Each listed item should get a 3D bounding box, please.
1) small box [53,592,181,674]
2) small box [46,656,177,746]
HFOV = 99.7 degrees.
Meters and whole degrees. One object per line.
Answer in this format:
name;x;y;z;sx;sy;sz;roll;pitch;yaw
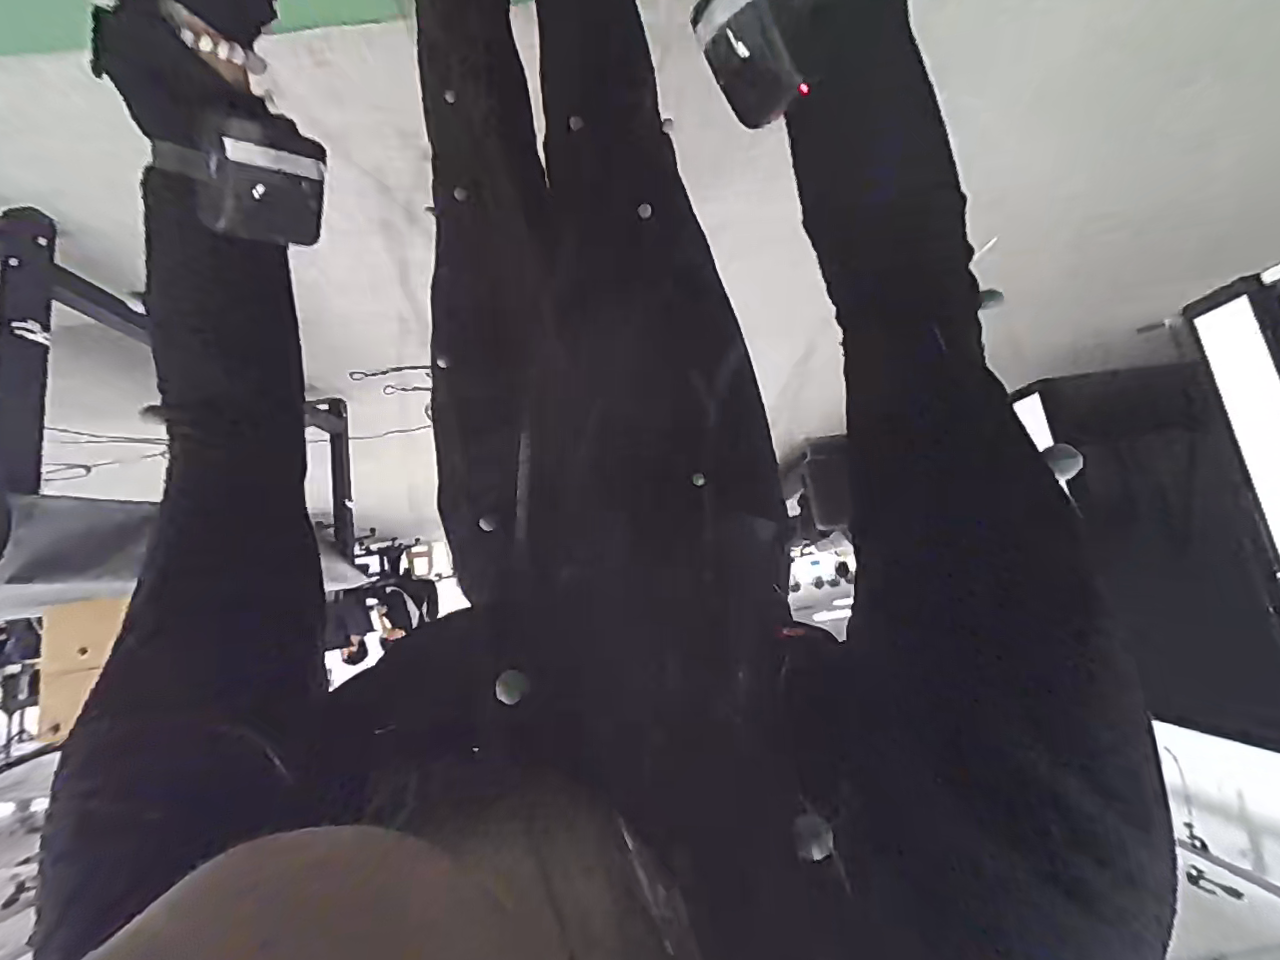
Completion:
small box;-1.309;0.375;1.361;0.179;0.176;0.168;-7;169;0
small box;-1.300;0.540;1.343;0.179;0.176;0.168;-9;170;1
